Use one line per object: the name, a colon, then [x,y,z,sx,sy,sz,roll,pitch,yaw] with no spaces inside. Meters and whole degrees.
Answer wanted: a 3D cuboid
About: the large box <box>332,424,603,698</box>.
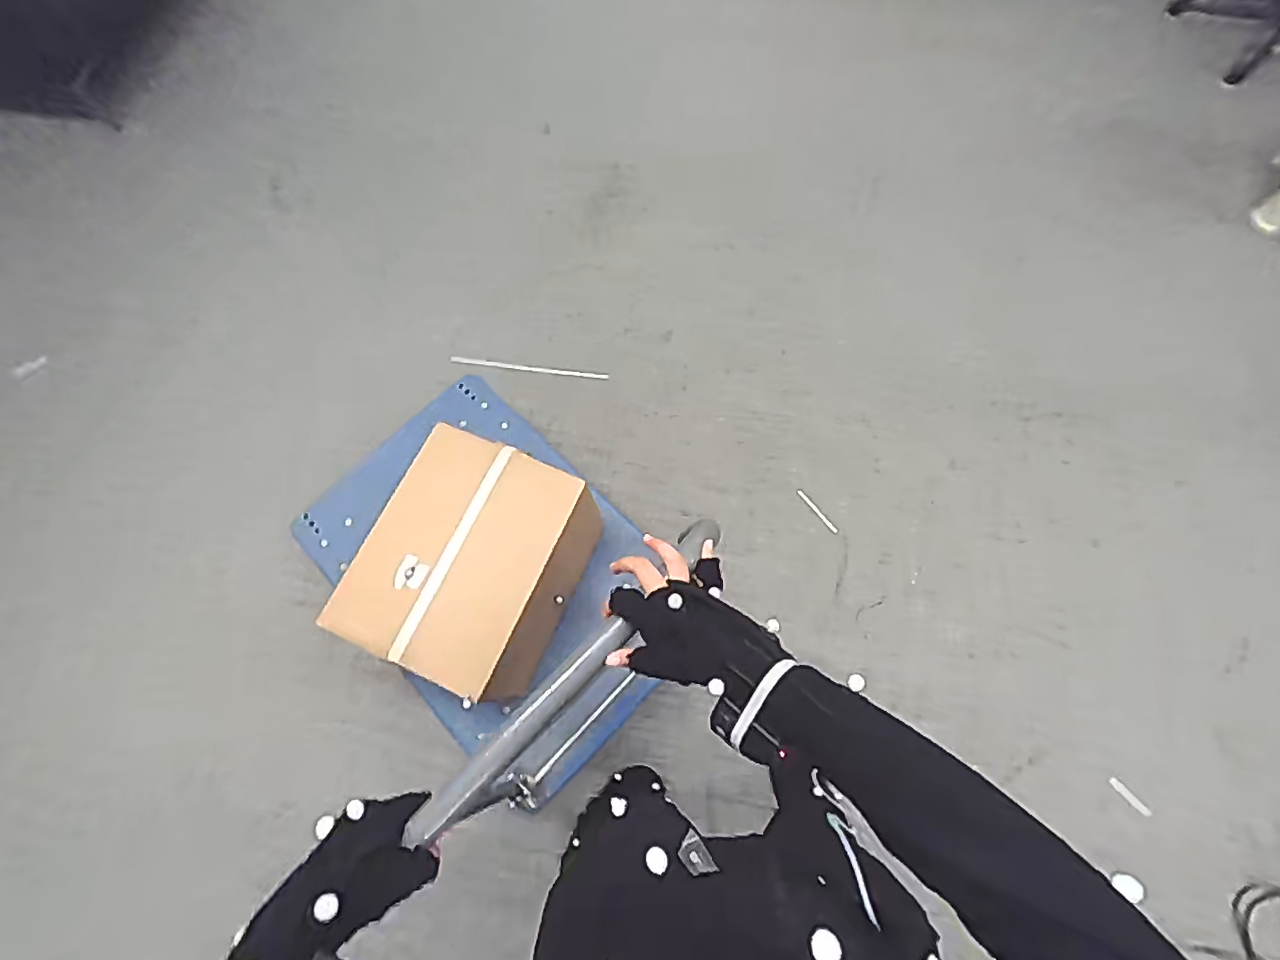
large box: [-0.299,0.165,1.078,0.320,0.320,0.408,22,74,10]
